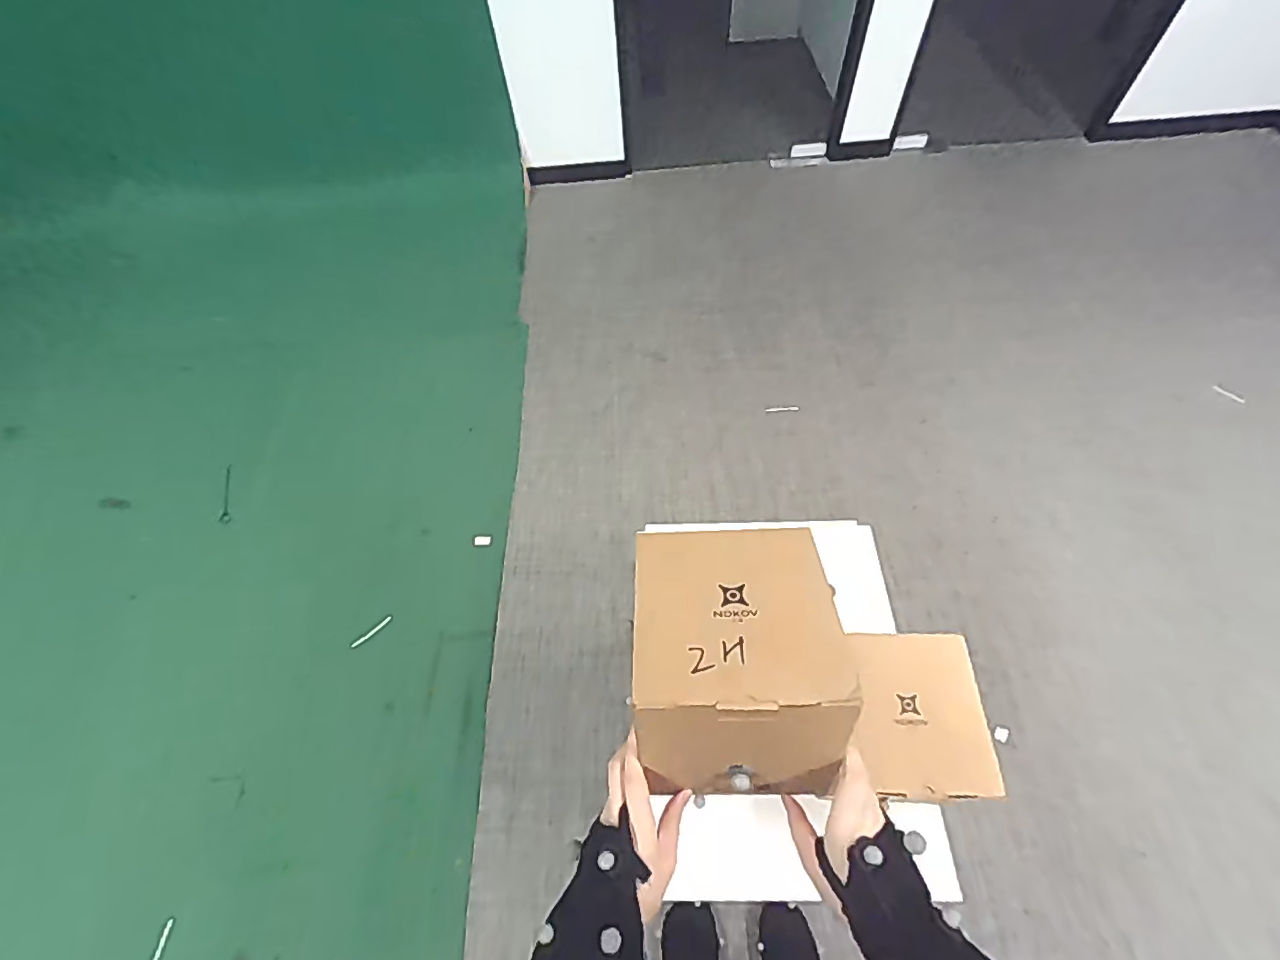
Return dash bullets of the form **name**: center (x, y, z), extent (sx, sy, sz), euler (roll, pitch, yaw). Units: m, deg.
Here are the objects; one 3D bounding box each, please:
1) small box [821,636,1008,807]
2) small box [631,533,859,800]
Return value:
- **small box**: center (0.312, 0.307, 0.682), extent (0.168, 0.176, 0.179), euler (-1, 59, 4)
- **small box**: center (0.083, 0.169, 0.502), extent (0.168, 0.176, 0.179), euler (-3, 41, 4)
